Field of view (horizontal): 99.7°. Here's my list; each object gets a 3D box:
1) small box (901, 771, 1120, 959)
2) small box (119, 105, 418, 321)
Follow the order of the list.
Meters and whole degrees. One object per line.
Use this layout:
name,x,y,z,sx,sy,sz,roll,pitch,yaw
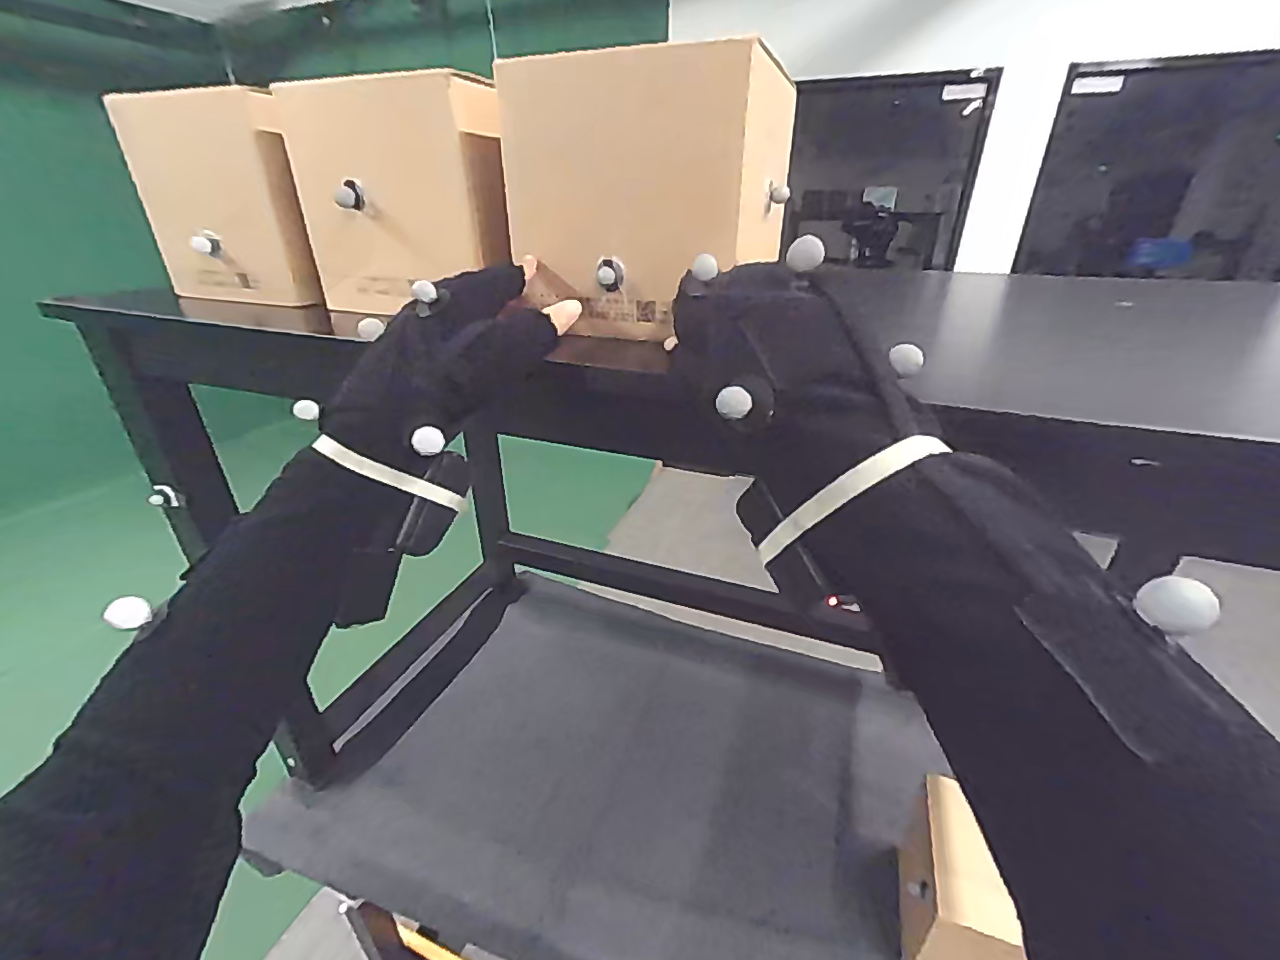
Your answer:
small box,0.416,0.499,0.641,0.168,0.176,0.179,10,28,19
small box,-0.354,-0.270,0.556,0.168,0.176,0.179,9,30,18
